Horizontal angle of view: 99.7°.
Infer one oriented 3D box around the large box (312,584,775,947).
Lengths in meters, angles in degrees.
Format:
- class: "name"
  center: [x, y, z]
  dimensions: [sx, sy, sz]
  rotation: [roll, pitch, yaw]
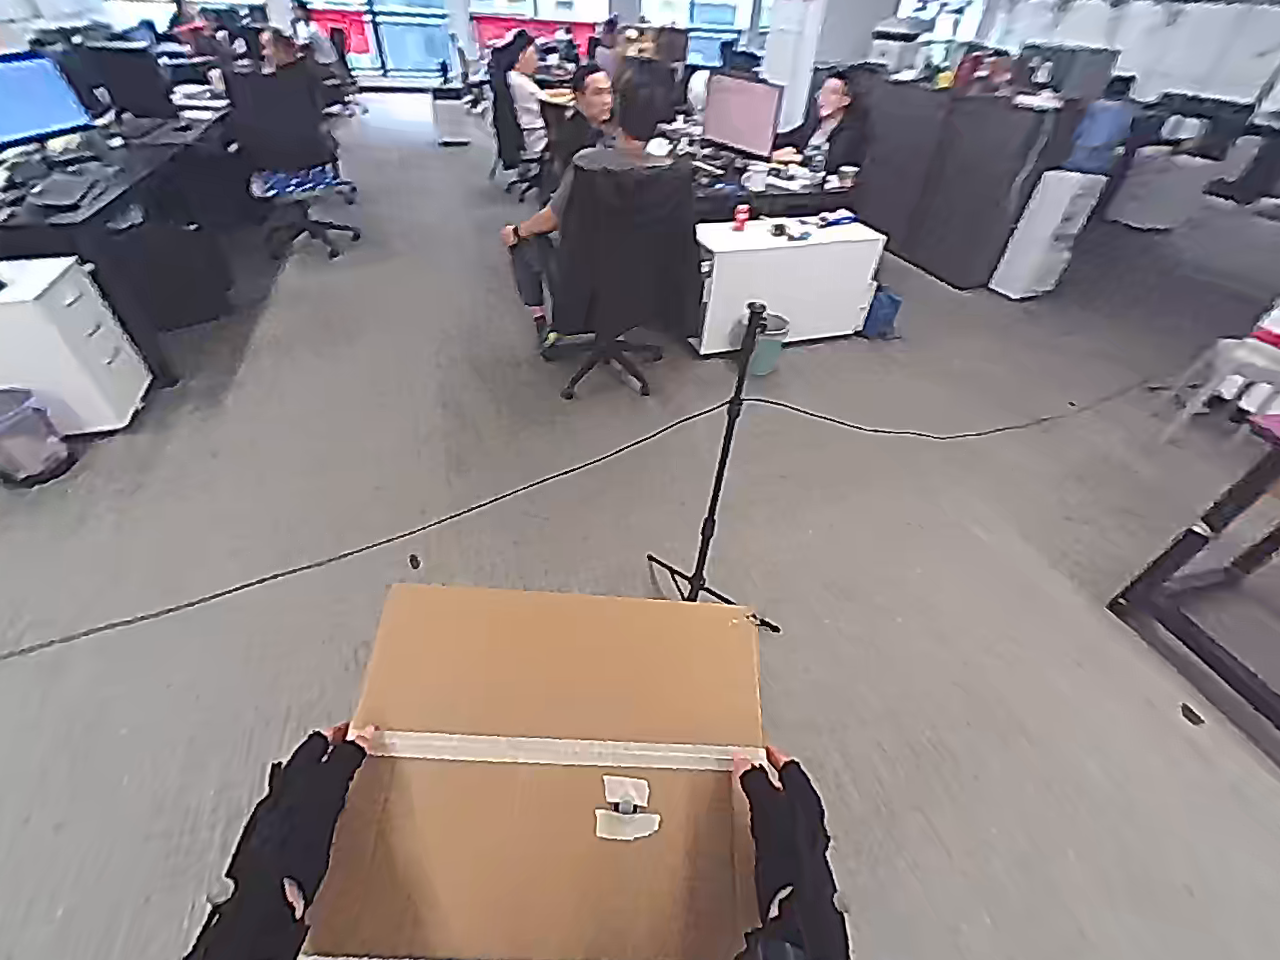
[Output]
- class: "large box"
  center: [-0.087, 0.339, 0.664]
  dimensions: [0.408, 0.320, 0.320]
  rotation: [5, 59, -3]
